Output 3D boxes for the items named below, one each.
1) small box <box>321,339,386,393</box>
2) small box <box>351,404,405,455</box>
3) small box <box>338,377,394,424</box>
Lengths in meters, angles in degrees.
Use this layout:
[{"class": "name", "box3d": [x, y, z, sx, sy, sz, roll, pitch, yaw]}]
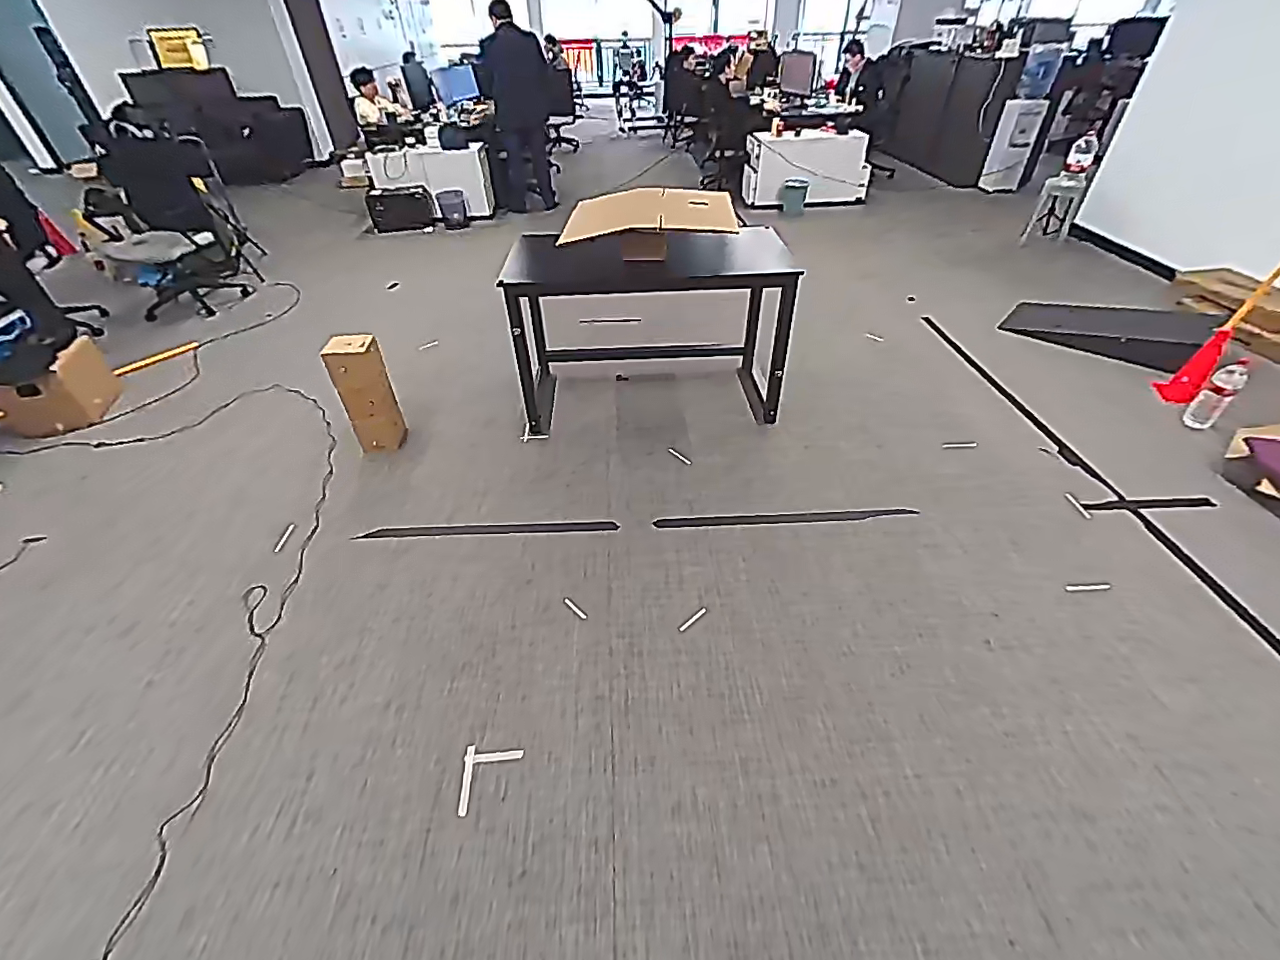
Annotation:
[{"class": "small box", "box3d": [-1.226, -0.487, 2.324, 0.179, 0.176, 0.168, -5, 40, -4]}, {"class": "small box", "box3d": [-1.219, -0.237, 2.533, 0.168, 0.176, 0.179, -5, 41, -4]}, {"class": "small box", "box3d": [-1.227, -0.363, 2.432, 0.168, 0.176, 0.179, -6, 39, -8]}]
